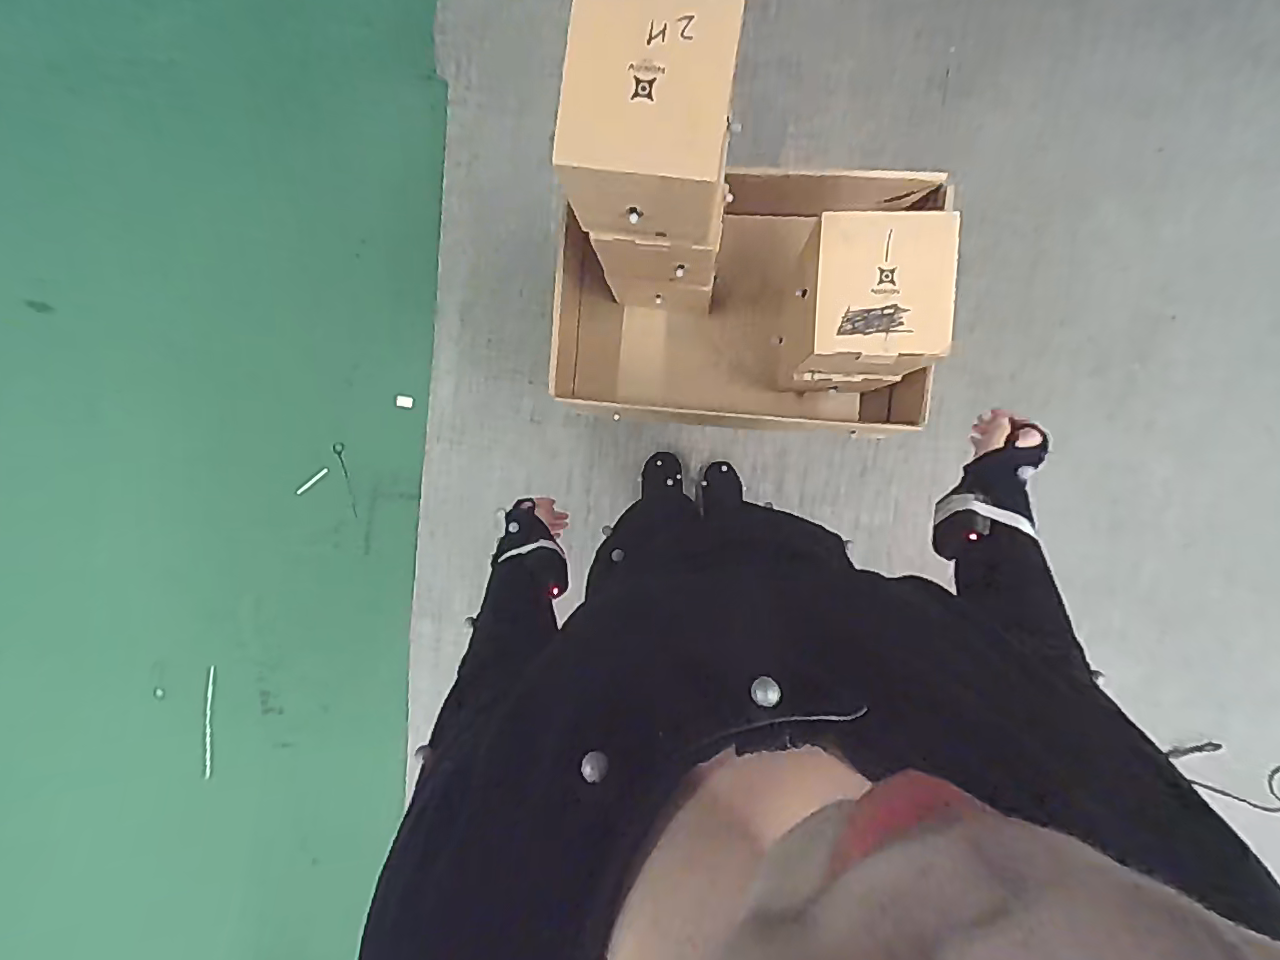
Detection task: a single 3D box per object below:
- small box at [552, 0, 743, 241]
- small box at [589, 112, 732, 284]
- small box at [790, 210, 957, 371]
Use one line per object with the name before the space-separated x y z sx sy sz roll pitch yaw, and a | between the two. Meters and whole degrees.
small box | 0.011 -0.389 0.603 0.168 0.176 0.179 9 94 3
small box | 0.031 -0.393 0.766 0.168 0.176 0.179 7 94 4
small box | 0.306 -0.248 0.744 0.168 0.176 0.179 3 93 5
